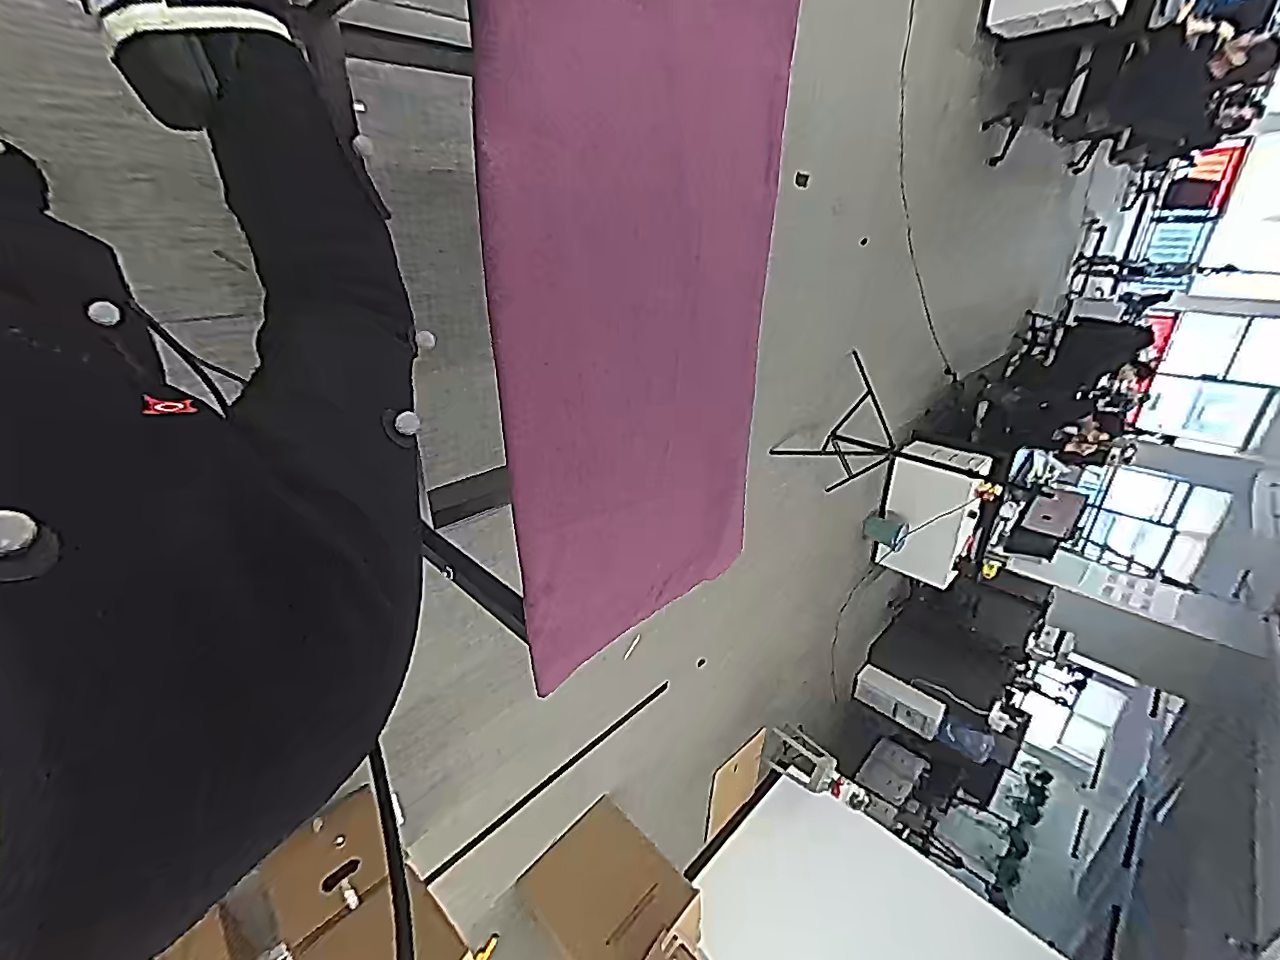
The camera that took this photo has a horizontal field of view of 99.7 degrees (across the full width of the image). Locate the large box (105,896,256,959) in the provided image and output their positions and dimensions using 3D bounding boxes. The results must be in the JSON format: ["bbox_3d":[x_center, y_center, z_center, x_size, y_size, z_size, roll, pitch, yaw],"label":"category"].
[{"bbox_3d":[-1.135,1.355,1.319,0.320,0.320,0.408,-25,123,-39],"label":"large box"}]
